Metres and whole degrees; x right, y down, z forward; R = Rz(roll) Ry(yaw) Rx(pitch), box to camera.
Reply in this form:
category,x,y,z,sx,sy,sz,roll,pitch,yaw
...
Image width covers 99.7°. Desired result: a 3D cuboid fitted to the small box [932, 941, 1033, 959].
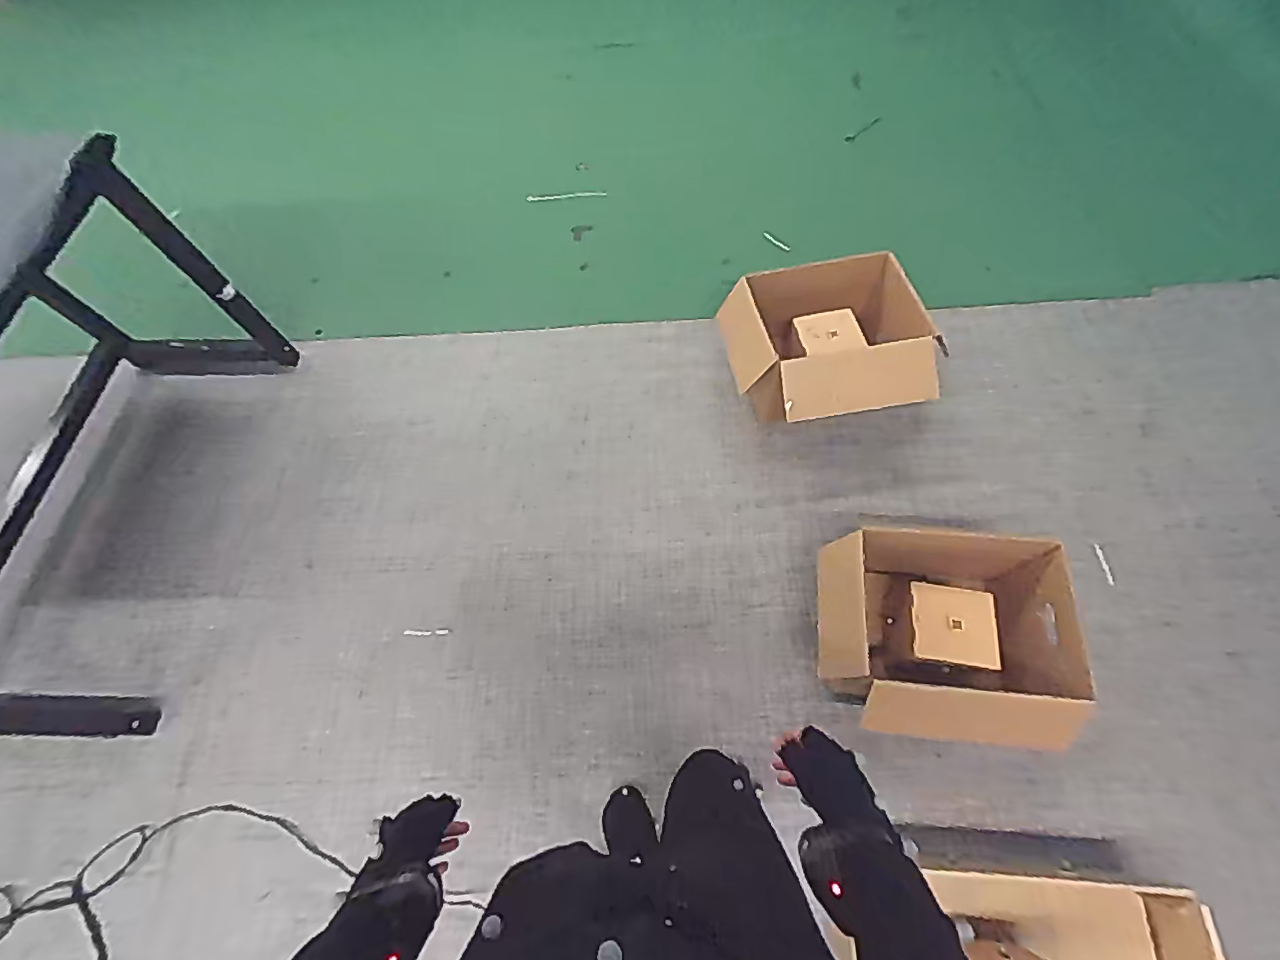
category,x,y,z,sx,sy,sz,roll,pitch,yaw
small box,0.627,0.928,0.929,0.179,0.176,0.168,5,65,4
